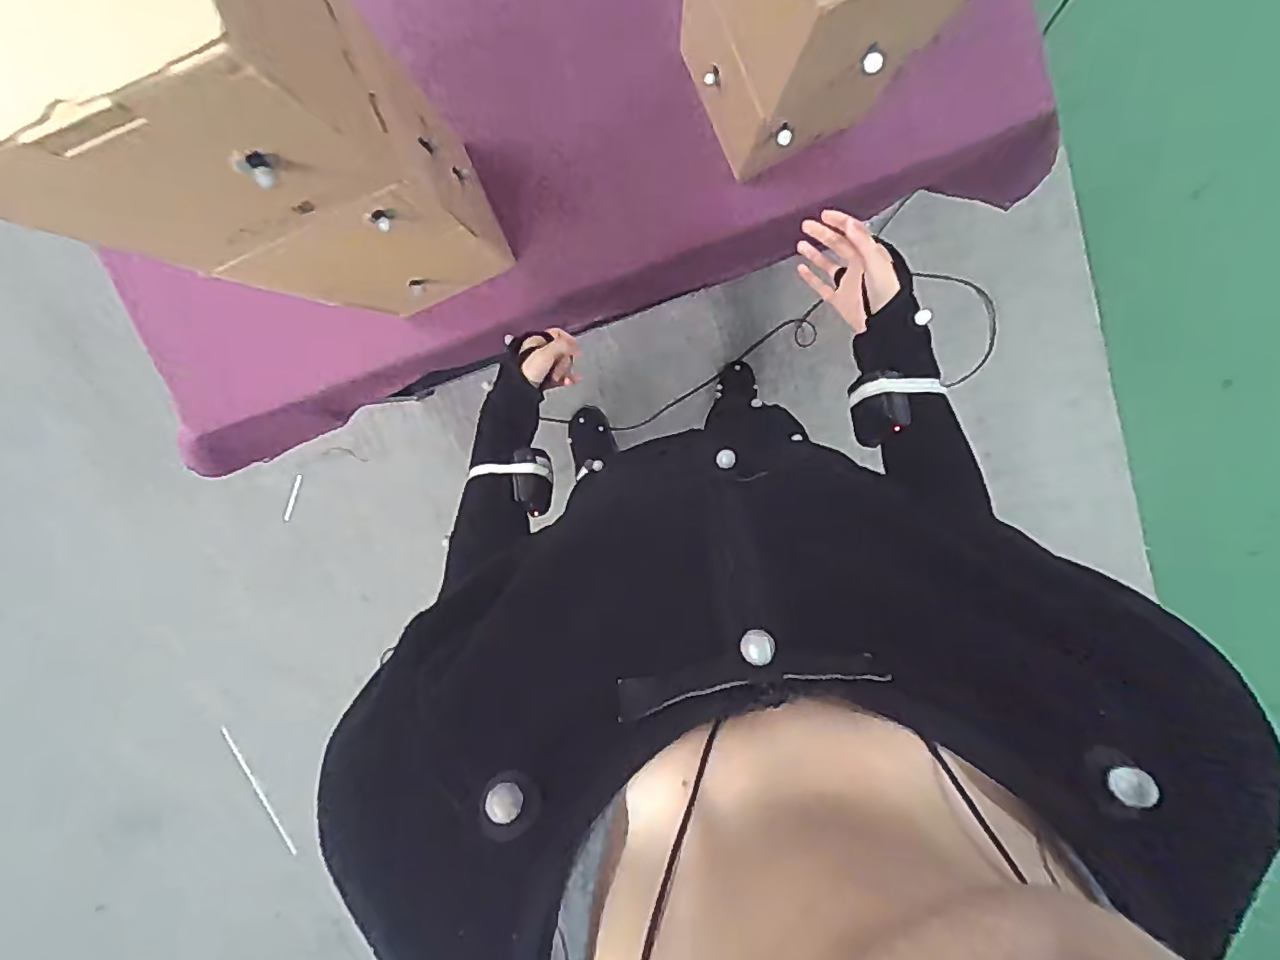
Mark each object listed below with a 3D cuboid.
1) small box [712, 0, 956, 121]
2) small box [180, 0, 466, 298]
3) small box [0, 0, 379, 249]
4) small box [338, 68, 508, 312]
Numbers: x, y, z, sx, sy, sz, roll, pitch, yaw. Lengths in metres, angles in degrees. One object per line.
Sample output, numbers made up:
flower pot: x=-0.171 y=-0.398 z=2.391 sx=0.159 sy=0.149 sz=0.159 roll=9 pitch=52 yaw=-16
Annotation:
small box: x=0.152 y=-0.435 z=0.421 sx=0.168 sy=0.176 sz=0.179 roll=-25 pitch=98 yaw=6
small box: x=-0.281 y=-0.274 z=0.462 sx=0.179 sy=0.176 sz=0.168 roll=-22 pitch=98 yaw=4
small box: x=-0.283 y=-0.249 z=0.301 sx=0.168 sy=0.176 sz=0.179 roll=-20 pitch=98 yaw=3
small box: x=-0.278 y=-0.308 z=0.621 sx=0.179 sy=0.176 sz=0.168 roll=-22 pitch=99 yaw=5
